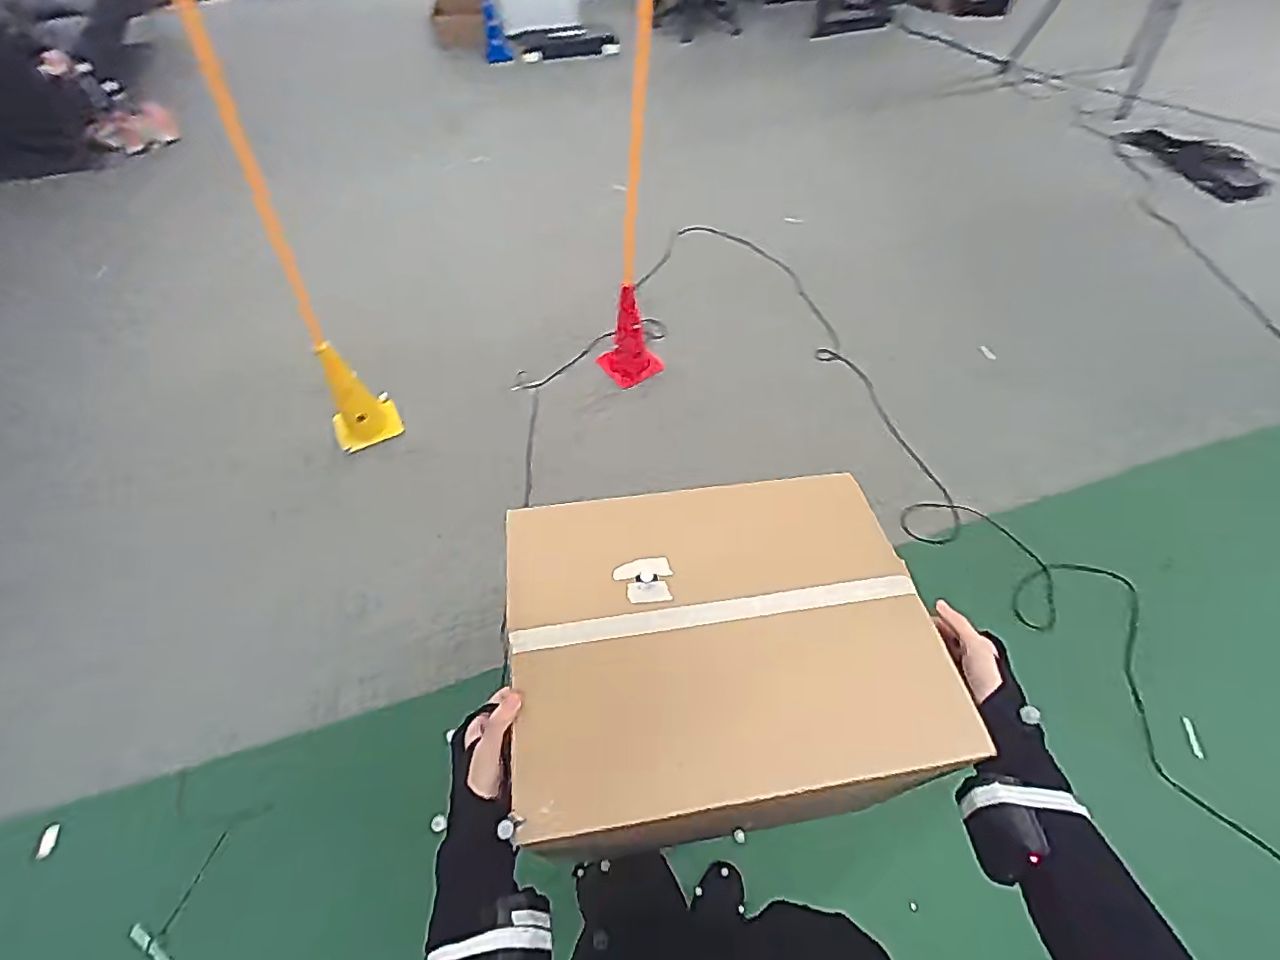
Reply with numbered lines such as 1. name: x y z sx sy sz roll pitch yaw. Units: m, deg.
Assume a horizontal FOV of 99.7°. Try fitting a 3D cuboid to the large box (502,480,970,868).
1. large box: 0.070 0.237 0.653 0.408 0.320 0.320 -8 52 -7
